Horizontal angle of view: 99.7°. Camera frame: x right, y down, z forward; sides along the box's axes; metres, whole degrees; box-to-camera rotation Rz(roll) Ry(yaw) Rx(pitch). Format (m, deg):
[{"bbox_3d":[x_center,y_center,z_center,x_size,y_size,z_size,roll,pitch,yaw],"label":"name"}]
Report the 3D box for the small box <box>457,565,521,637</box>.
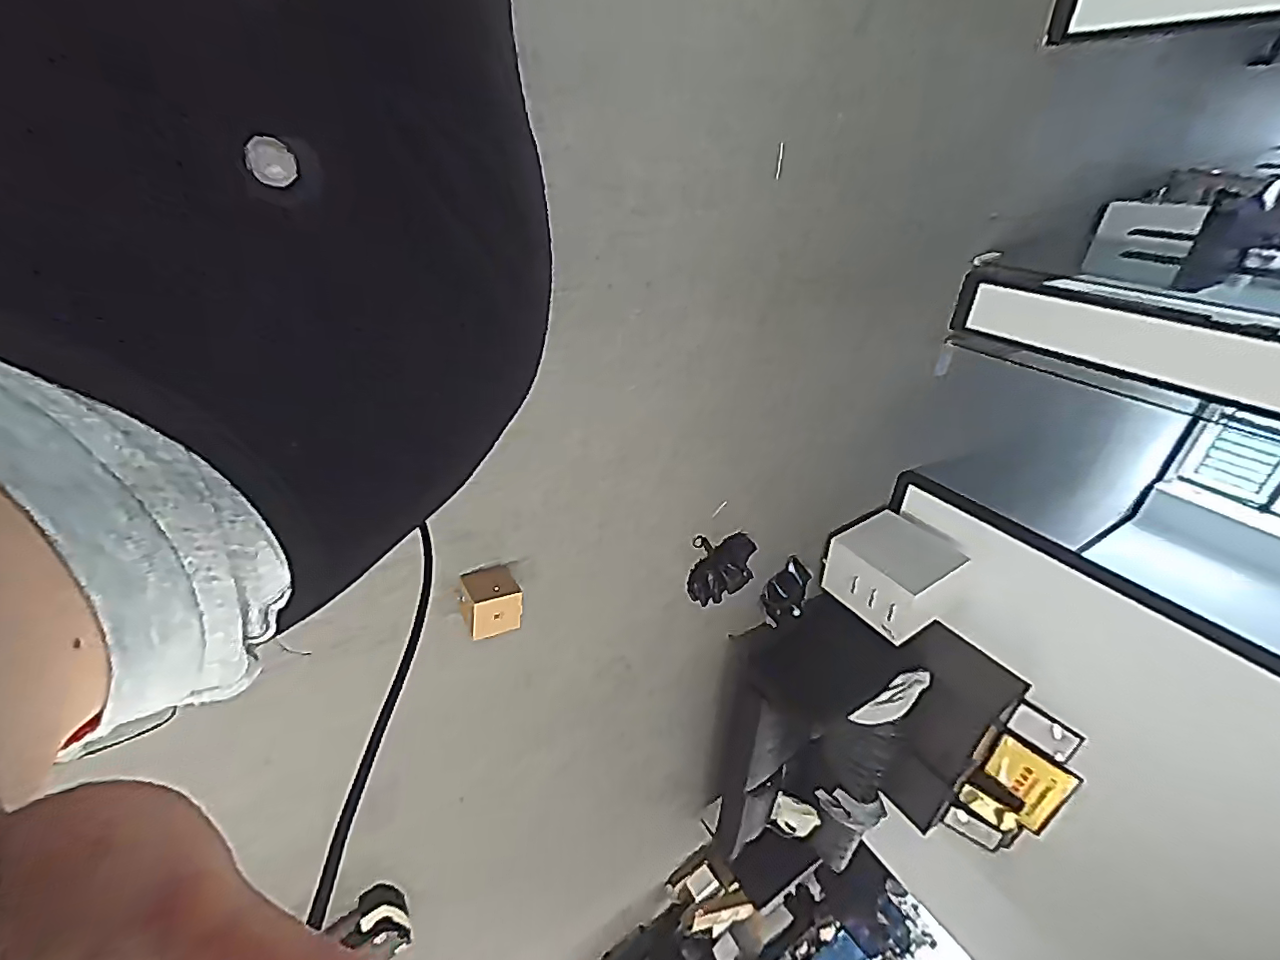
[{"bbox_3d":[-0.545,0.427,1.942,0.179,0.176,0.168,-9,122,-32],"label":"small box"}]
